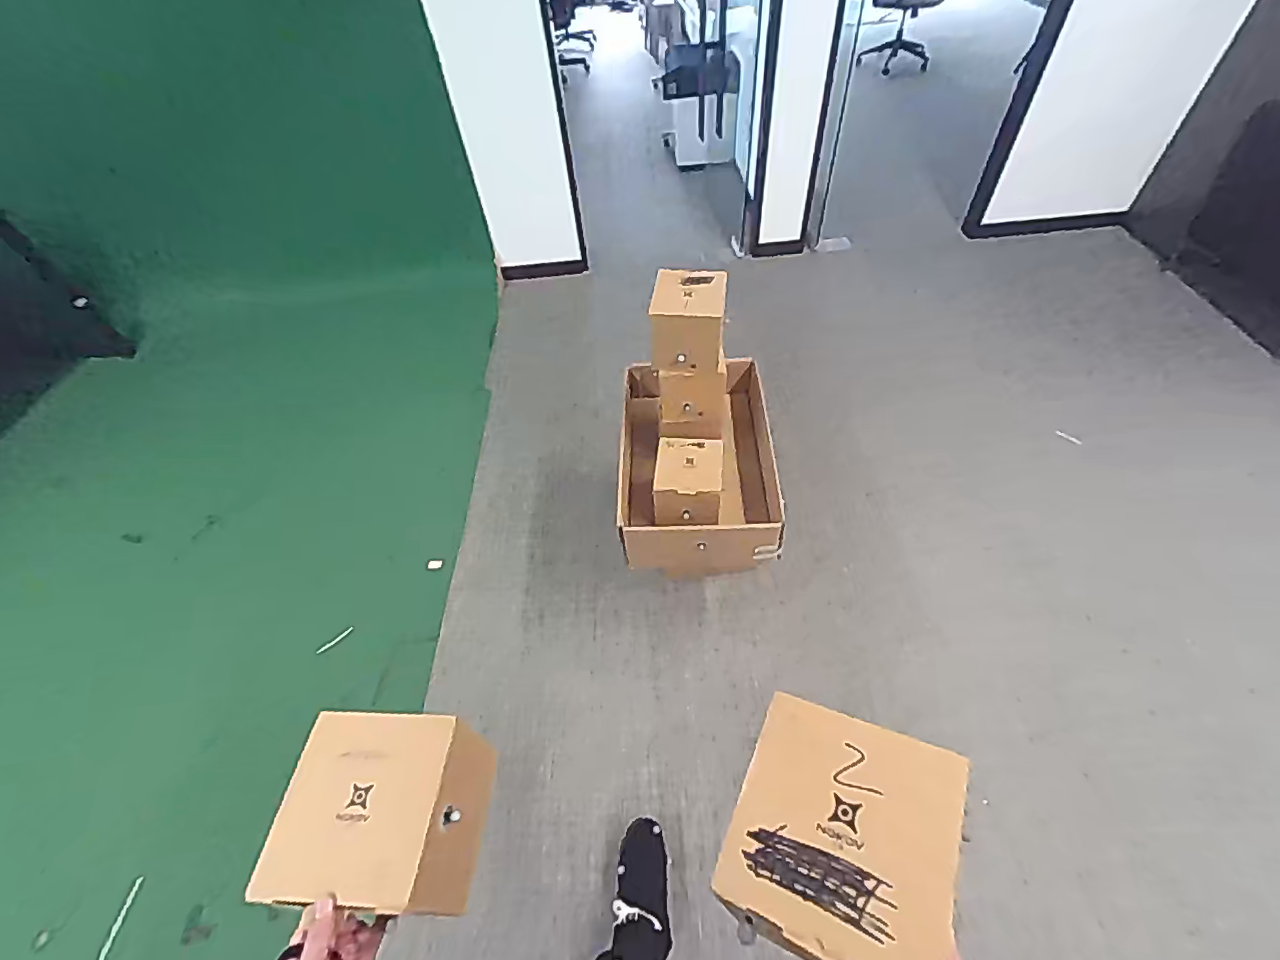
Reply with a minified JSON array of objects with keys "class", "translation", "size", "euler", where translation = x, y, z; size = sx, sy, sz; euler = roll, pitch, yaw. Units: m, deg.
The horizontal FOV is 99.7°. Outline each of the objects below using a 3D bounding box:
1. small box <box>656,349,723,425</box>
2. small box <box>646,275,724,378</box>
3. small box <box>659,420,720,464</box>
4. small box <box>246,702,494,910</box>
[{"class":"small box","translation":[0.126,-0.265,1.432],"size":[0.168,0.176,0.179],"euler":[-3,52,2]},{"class":"small box","translation":[0.110,-0.370,1.307],"size":[0.168,0.176,0.179],"euler":[5,53,9]},{"class":"small box","translation":[0.137,-0.166,1.560],"size":[0.168,0.176,0.179],"euler":[-3,52,3]},{"class":"small box","translation":[-0.283,0.375,0.620],"size":[0.168,0.176,0.179],"euler":[0,49,7]}]
